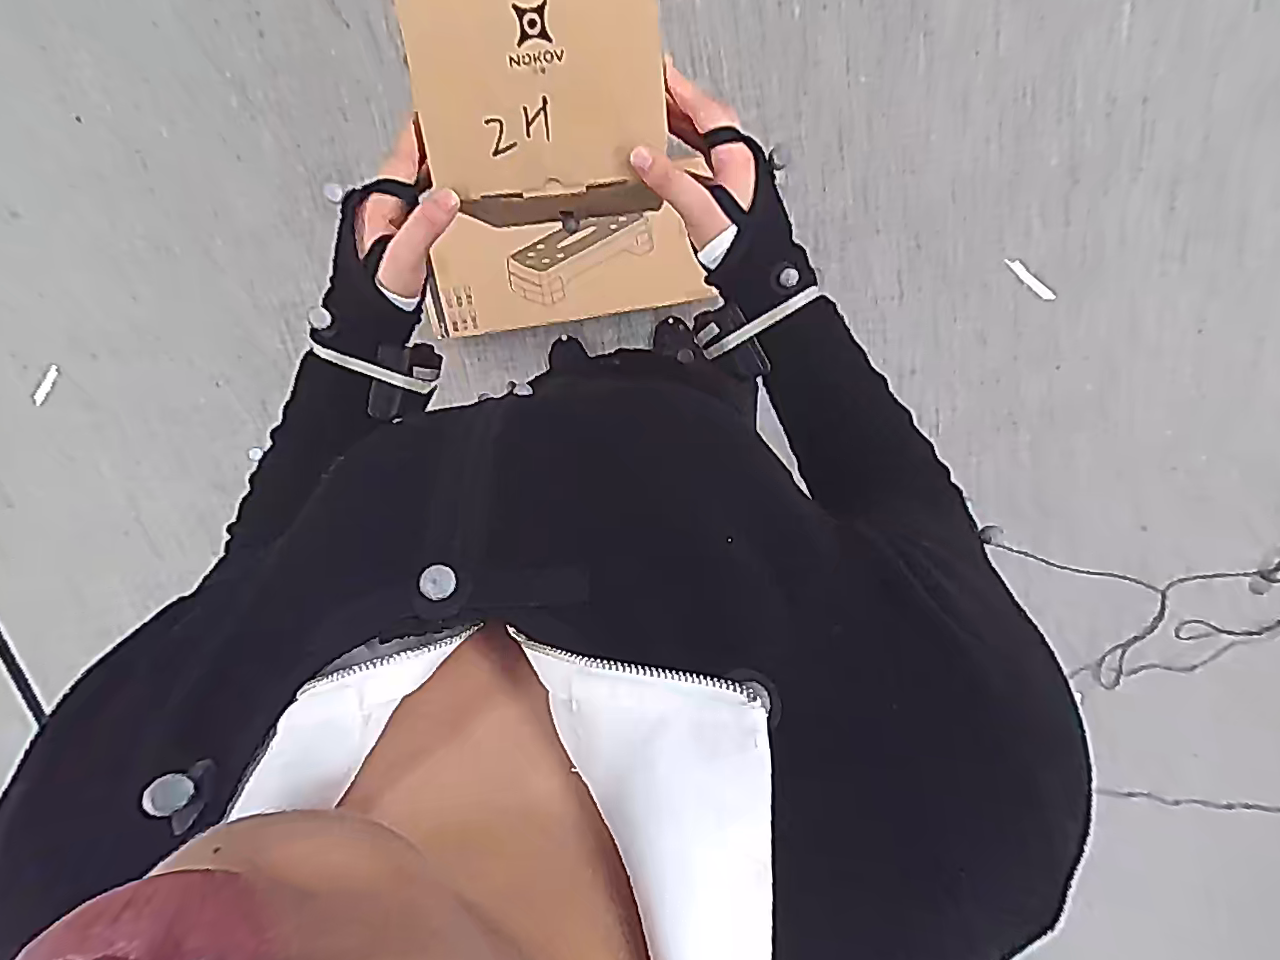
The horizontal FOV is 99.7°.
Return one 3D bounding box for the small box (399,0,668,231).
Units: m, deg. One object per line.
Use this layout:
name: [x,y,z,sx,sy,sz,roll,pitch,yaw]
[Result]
small box: [-0.070,-0.306,0.423,0.168,0.176,0.179,-5,109,1]
